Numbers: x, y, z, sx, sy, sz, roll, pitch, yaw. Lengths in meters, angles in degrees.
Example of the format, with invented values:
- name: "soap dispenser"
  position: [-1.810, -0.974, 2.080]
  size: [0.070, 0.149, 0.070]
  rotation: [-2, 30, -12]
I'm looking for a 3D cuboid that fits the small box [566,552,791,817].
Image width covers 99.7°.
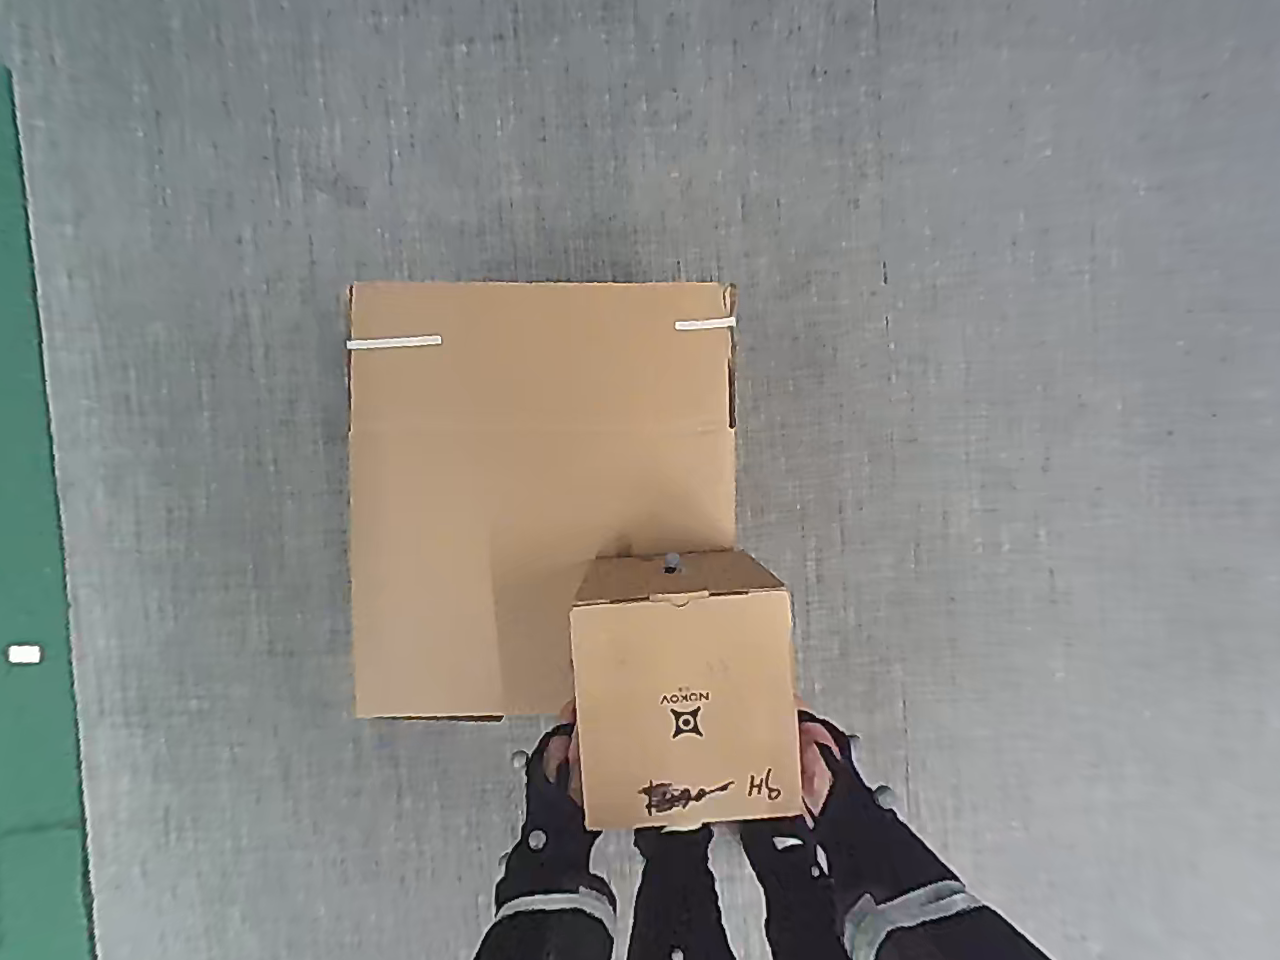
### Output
- name: "small box"
  position: [0.028, 0.162, 0.487]
  size: [0.168, 0.176, 0.179]
  rotation: [-4, 91, 0]
